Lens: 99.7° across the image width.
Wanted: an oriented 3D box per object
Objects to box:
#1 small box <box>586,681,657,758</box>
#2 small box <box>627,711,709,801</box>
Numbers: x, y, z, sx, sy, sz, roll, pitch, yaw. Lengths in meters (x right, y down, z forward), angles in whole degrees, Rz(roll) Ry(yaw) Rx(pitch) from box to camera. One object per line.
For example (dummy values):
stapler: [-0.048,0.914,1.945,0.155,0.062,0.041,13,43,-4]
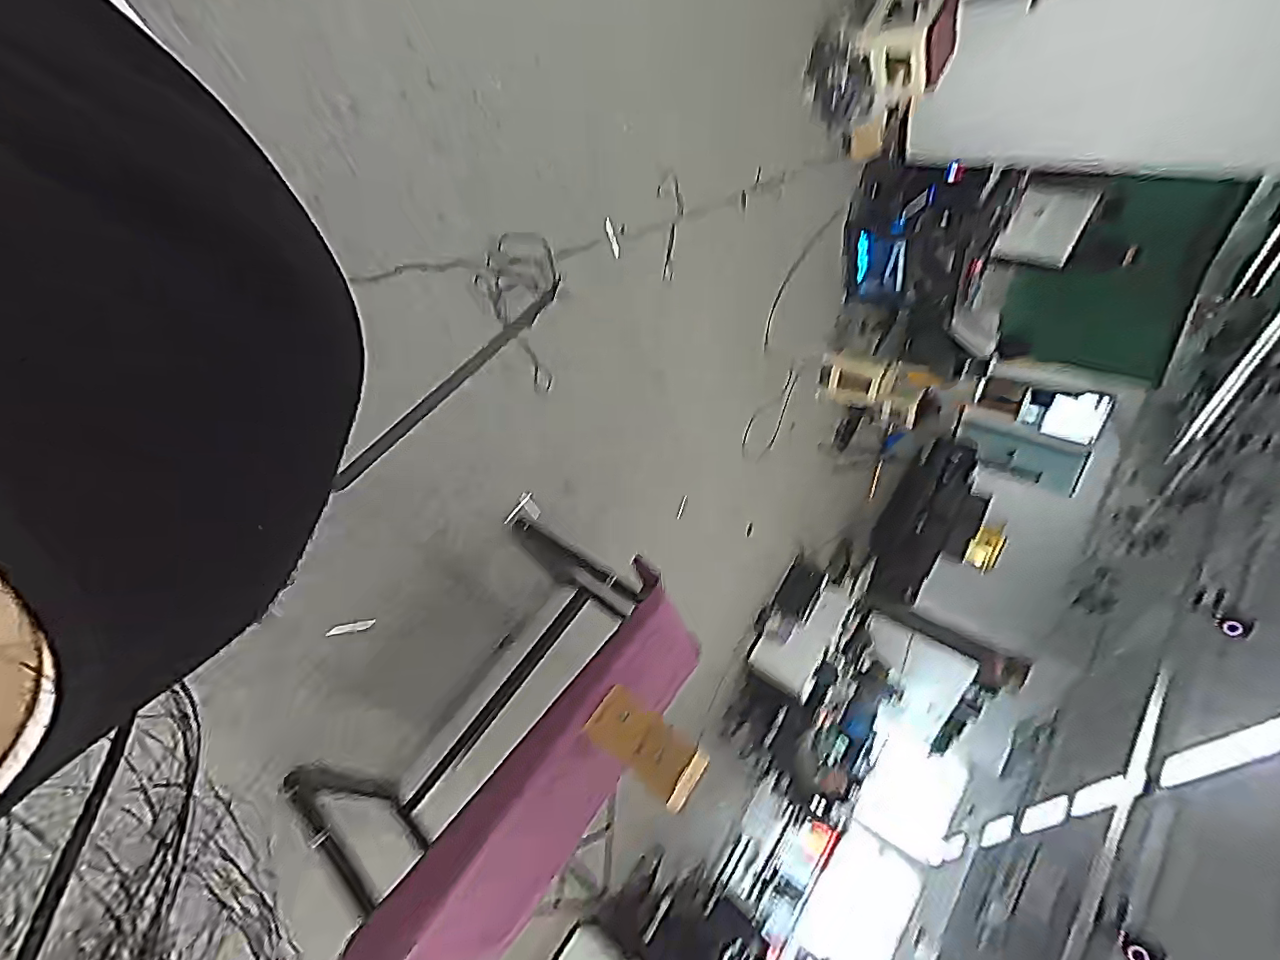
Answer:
small box: [-0.045,0.771,1.719,0.168,0.176,0.179,-50,145,-21]
small box: [0.083,0.831,1.635,0.168,0.176,0.179,-51,145,-20]
